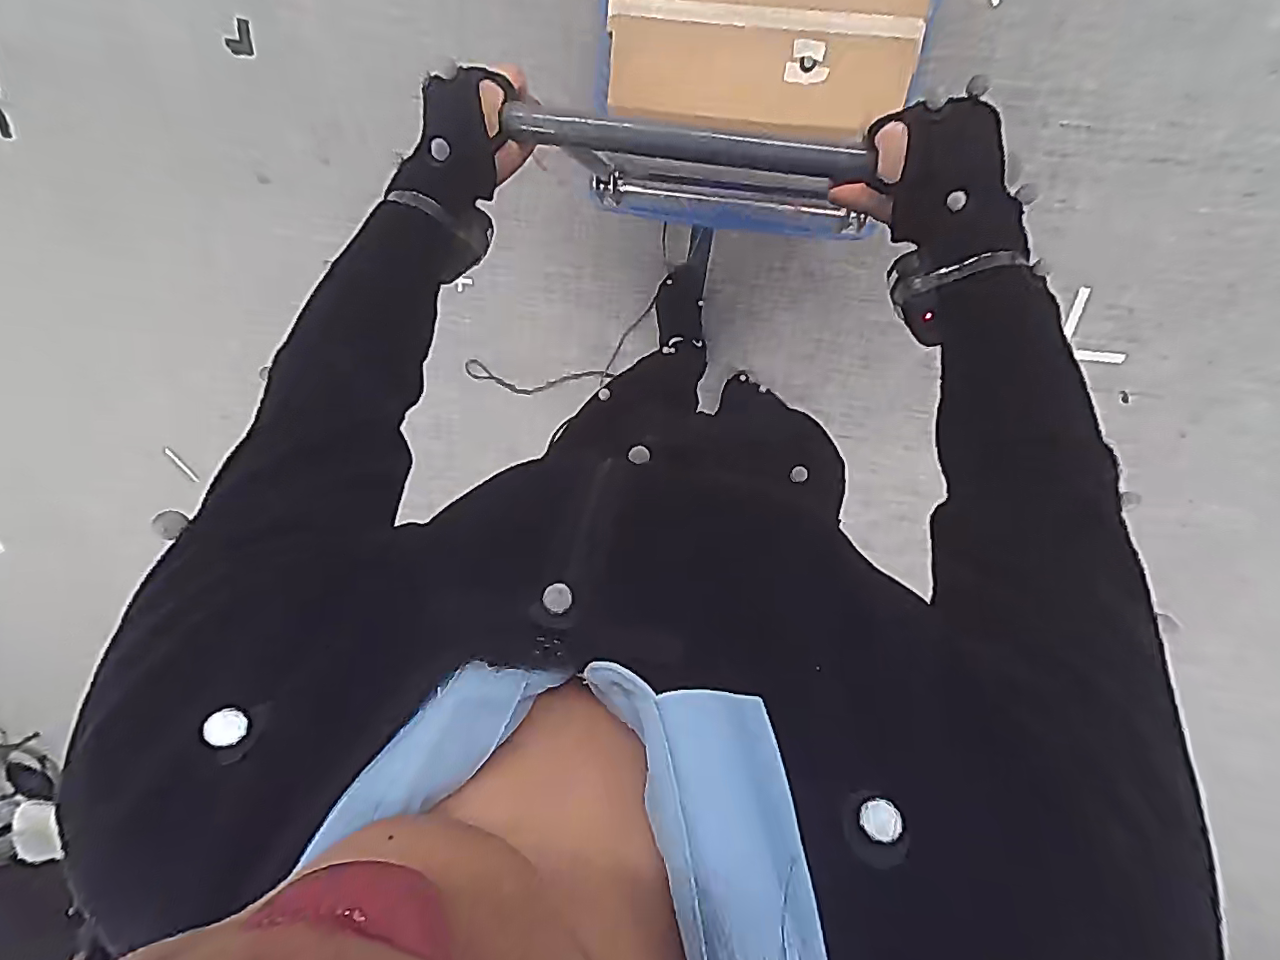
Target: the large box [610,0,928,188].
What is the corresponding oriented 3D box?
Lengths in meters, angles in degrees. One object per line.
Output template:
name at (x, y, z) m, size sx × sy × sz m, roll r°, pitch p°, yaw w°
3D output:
large box at (0.182, -0.661, 0.846) m, size 0.408 × 0.320 × 0.320 m, roll 9°, pitch 115°, yaw 4°
